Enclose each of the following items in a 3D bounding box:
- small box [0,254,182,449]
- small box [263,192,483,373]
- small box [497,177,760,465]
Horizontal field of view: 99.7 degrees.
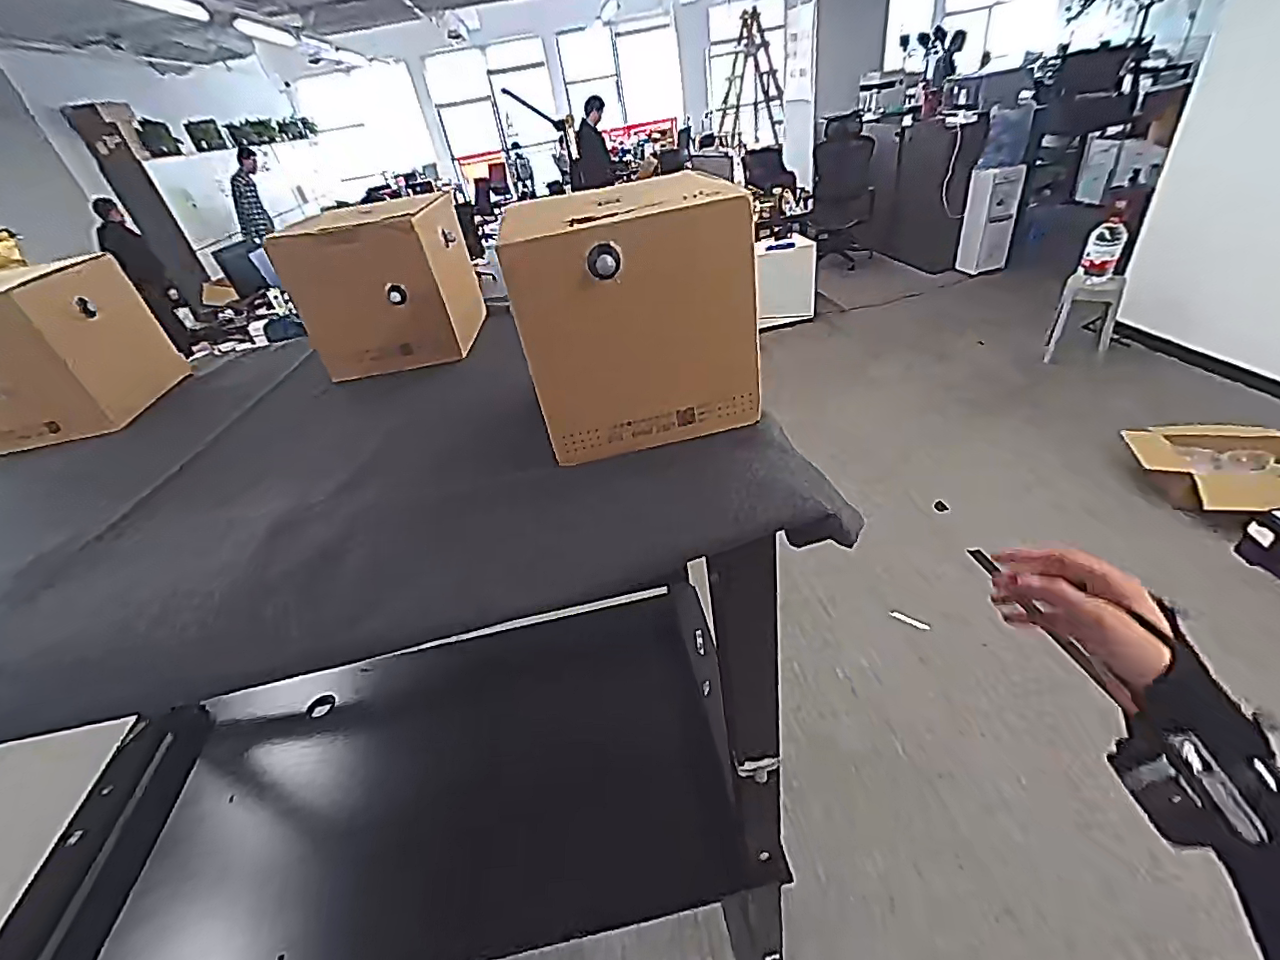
[{"bbox_3d":[-0.710,-0.149,0.645,0.168,0.176,0.179,-12,36,-4],"label":"small box"},{"bbox_3d":[-0.309,-0.242,0.674,0.168,0.176,0.179,-8,35,1],"label":"small box"},{"bbox_3d":[-0.008,-0.135,0.444,0.168,0.176,0.179,-13,34,-2],"label":"small box"}]
